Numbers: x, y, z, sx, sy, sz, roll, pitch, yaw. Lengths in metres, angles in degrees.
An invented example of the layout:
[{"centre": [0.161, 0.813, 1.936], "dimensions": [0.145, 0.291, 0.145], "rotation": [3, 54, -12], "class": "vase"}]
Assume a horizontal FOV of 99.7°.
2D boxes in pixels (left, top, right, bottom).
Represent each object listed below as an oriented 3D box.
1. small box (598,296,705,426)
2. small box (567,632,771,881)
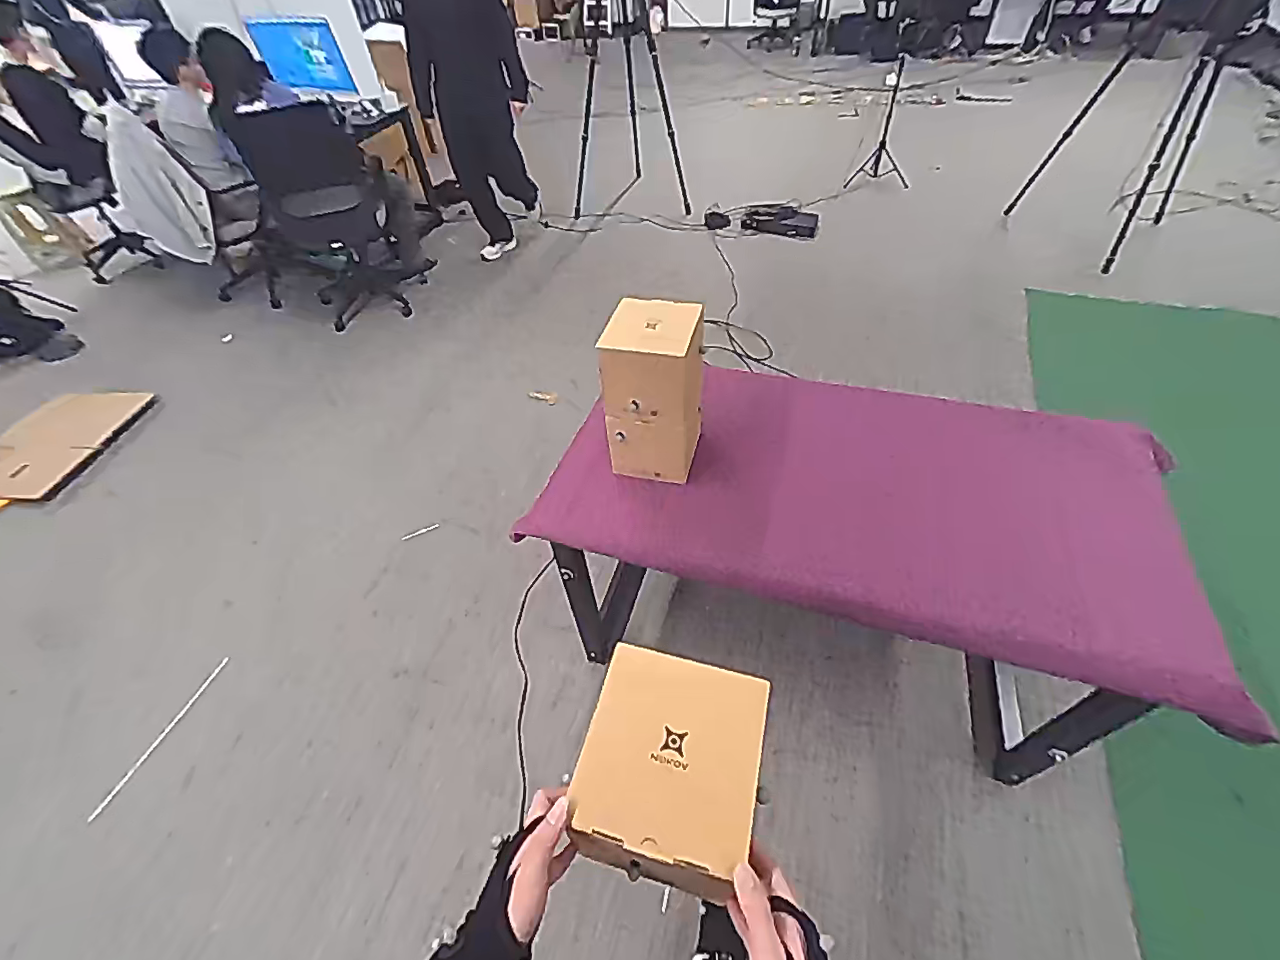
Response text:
[{"centre": [0.027, -0.233, 1.057], "dimensions": [0.168, 0.176, 0.179], "rotation": [10, 50, 13], "class": "small box"}, {"centre": [0.034, 0.295, 0.577], "dimensions": [0.168, 0.176, 0.179], "rotation": [12, 50, 10], "class": "small box"}]
